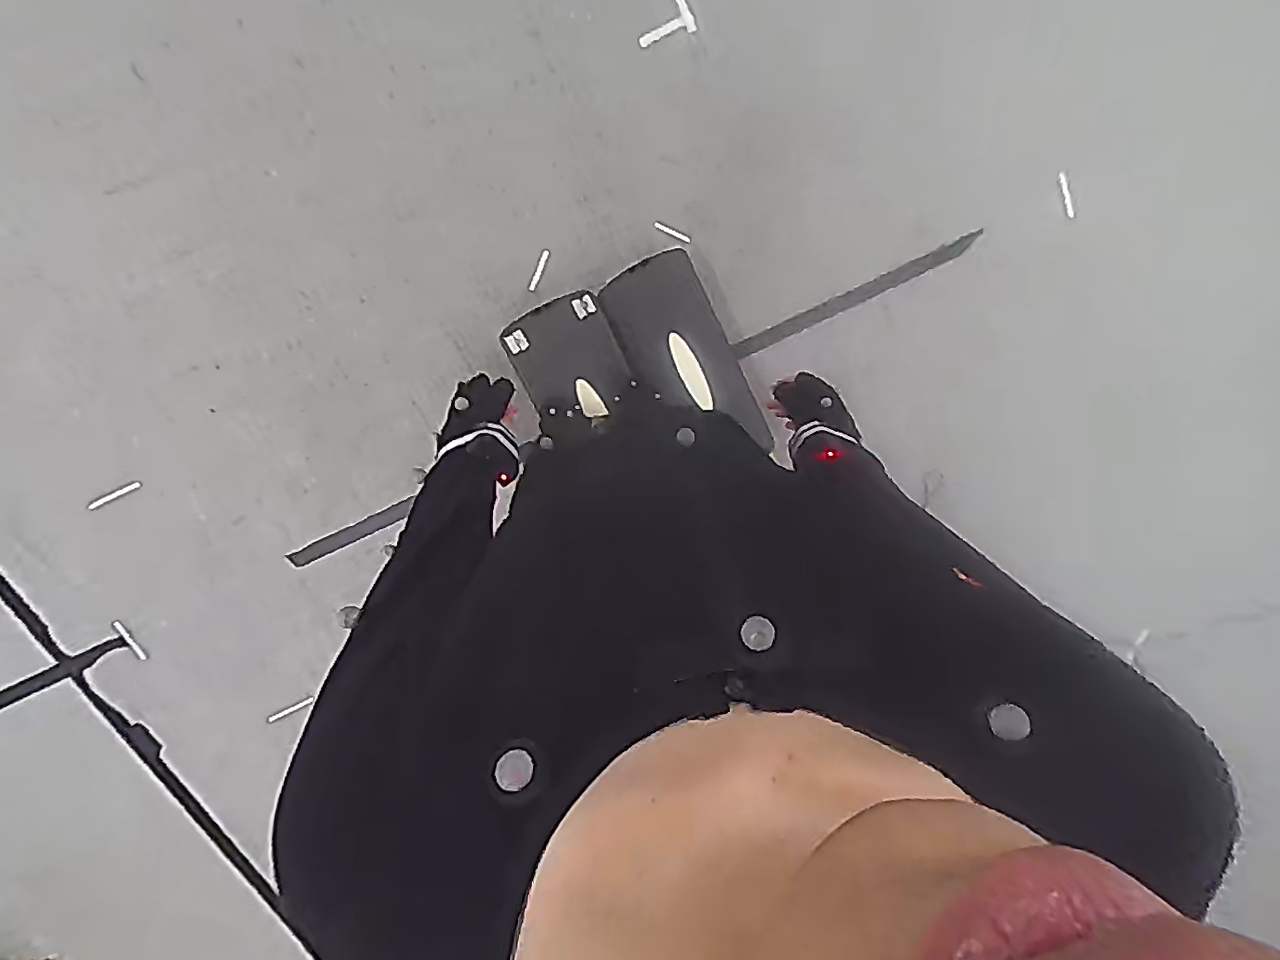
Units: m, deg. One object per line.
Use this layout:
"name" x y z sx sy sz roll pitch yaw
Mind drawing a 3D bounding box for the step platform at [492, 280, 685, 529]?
"step platform" -0.135 -0.201 1.532 0.286 0.204 0.684 -28 102 0
